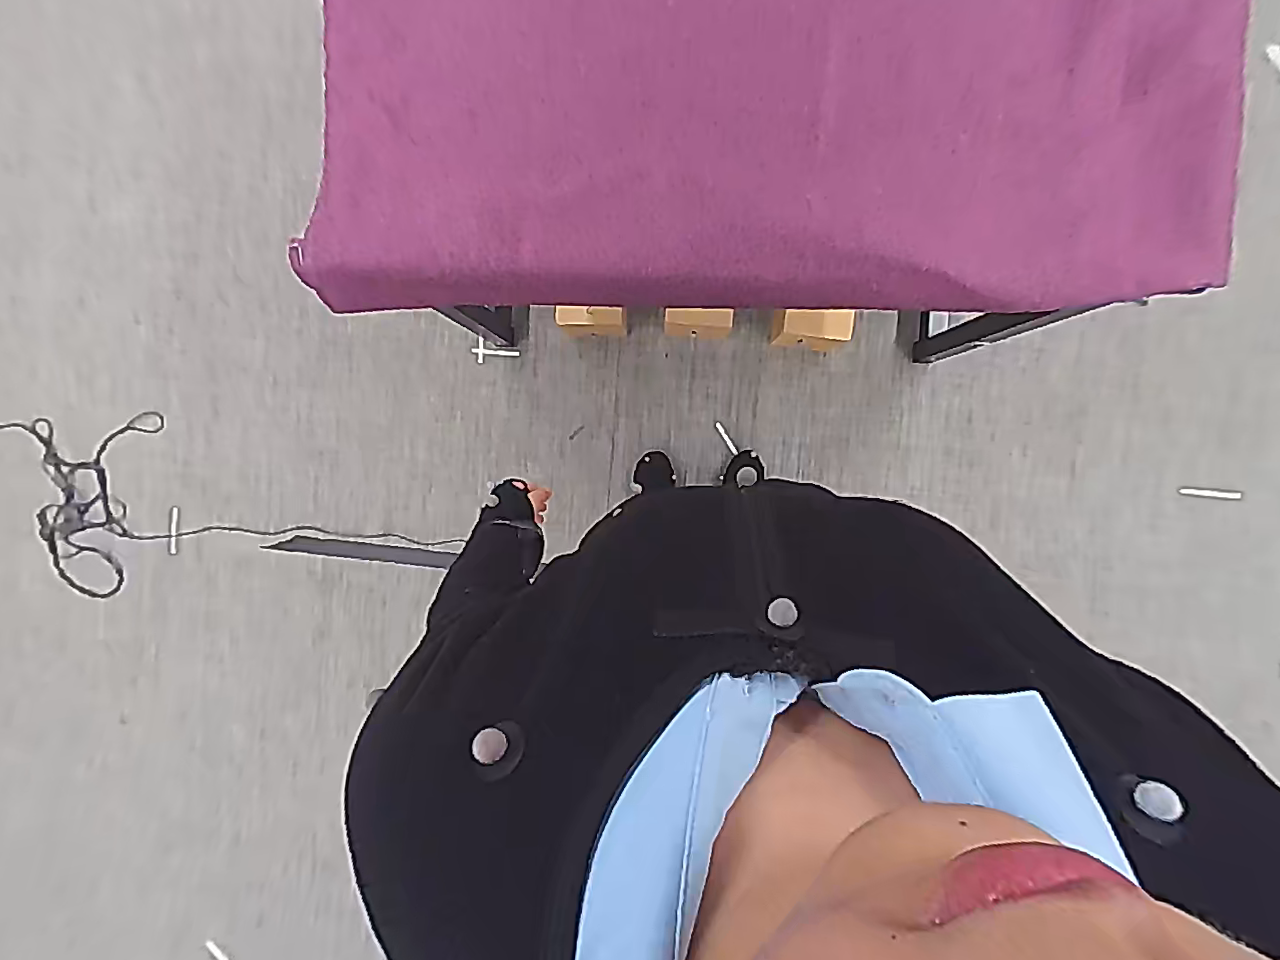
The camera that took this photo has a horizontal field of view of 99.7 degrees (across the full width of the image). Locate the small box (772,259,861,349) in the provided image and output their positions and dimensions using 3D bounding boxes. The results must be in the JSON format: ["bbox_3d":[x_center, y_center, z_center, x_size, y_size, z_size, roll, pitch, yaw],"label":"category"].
[{"bbox_3d":[0.442,-0.440,1.380,0.168,0.176,0.179,8,93,2],"label":"small box"}]

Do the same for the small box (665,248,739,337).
[{"bbox_3d":[0.154,-0.472,1.389,0.168,0.176,0.179,5,93,2],"label":"small box"}]
